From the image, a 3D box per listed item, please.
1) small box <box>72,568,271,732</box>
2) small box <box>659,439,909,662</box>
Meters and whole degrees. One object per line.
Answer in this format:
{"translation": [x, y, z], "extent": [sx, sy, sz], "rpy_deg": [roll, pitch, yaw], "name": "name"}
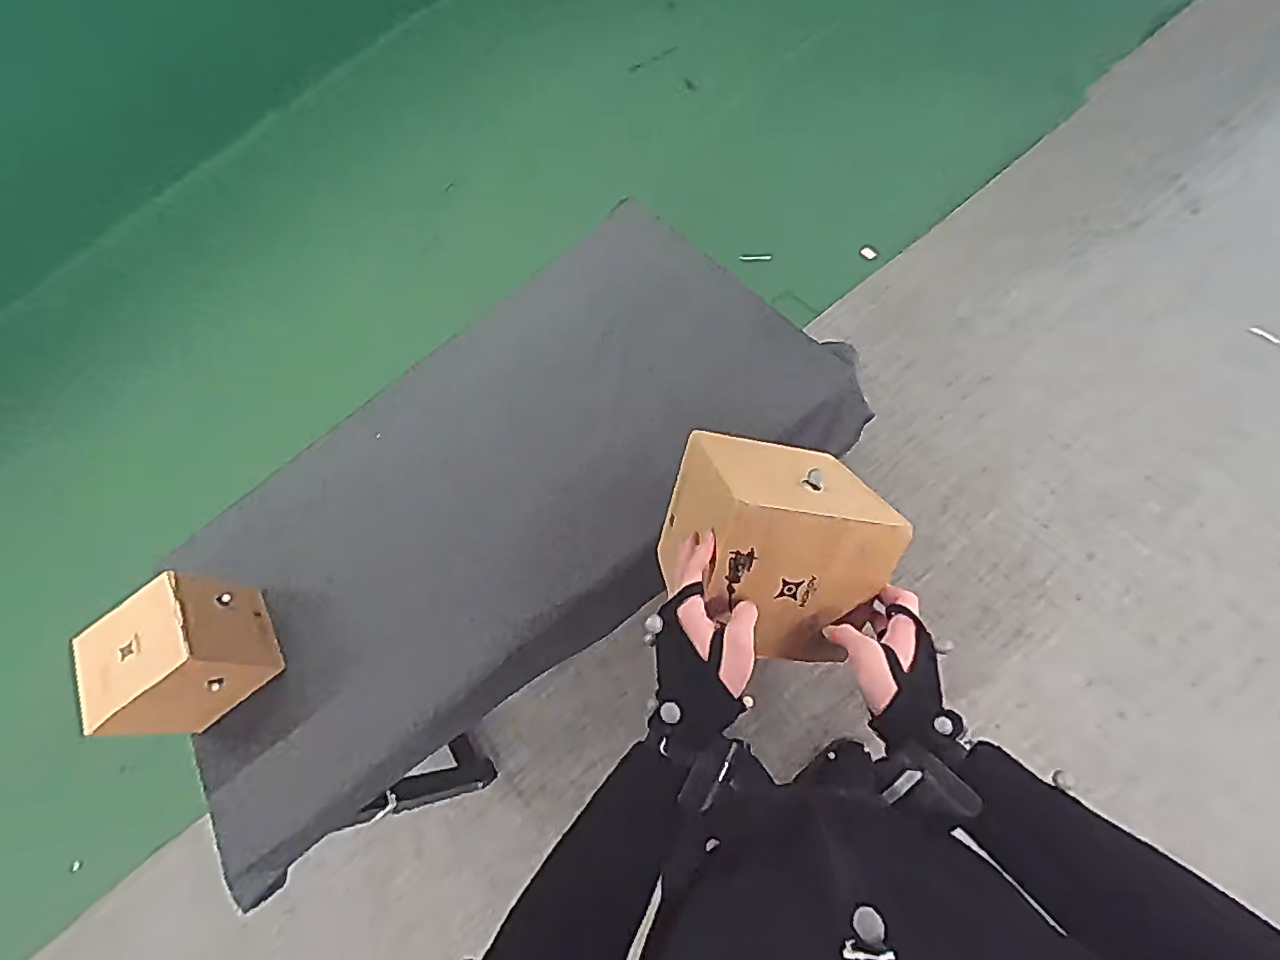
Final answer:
{"translation": [-0.718, 0.269, 0.847], "extent": [0.179, 0.176, 0.168], "rpy_deg": [-36, 62, -2], "name": "small box"}
{"translation": [0.135, 0.069, 0.577], "extent": [0.179, 0.168, 0.176], "rpy_deg": [9, 25, -14], "name": "small box"}
